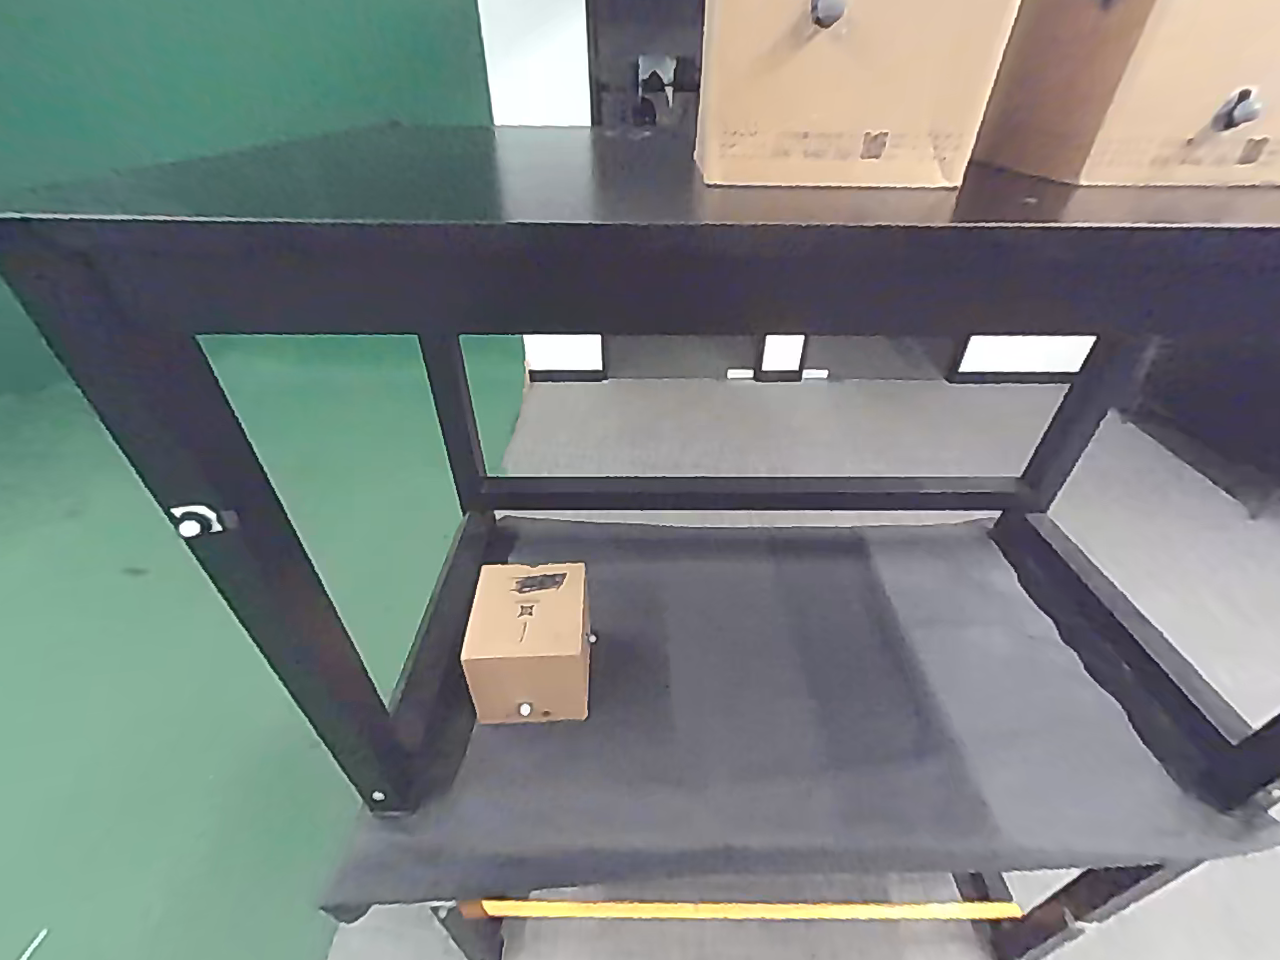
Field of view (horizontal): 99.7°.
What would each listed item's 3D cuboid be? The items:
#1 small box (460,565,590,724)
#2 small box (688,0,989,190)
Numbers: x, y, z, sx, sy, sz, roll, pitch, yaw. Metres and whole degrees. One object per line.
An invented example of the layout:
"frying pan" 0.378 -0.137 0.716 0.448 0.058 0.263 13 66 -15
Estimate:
"small box" -0.166 0.254 0.844 0.168 0.176 0.179 -2 37 -2
"small box" 0.121 -0.304 0.373 0.168 0.176 0.179 1 36 2
